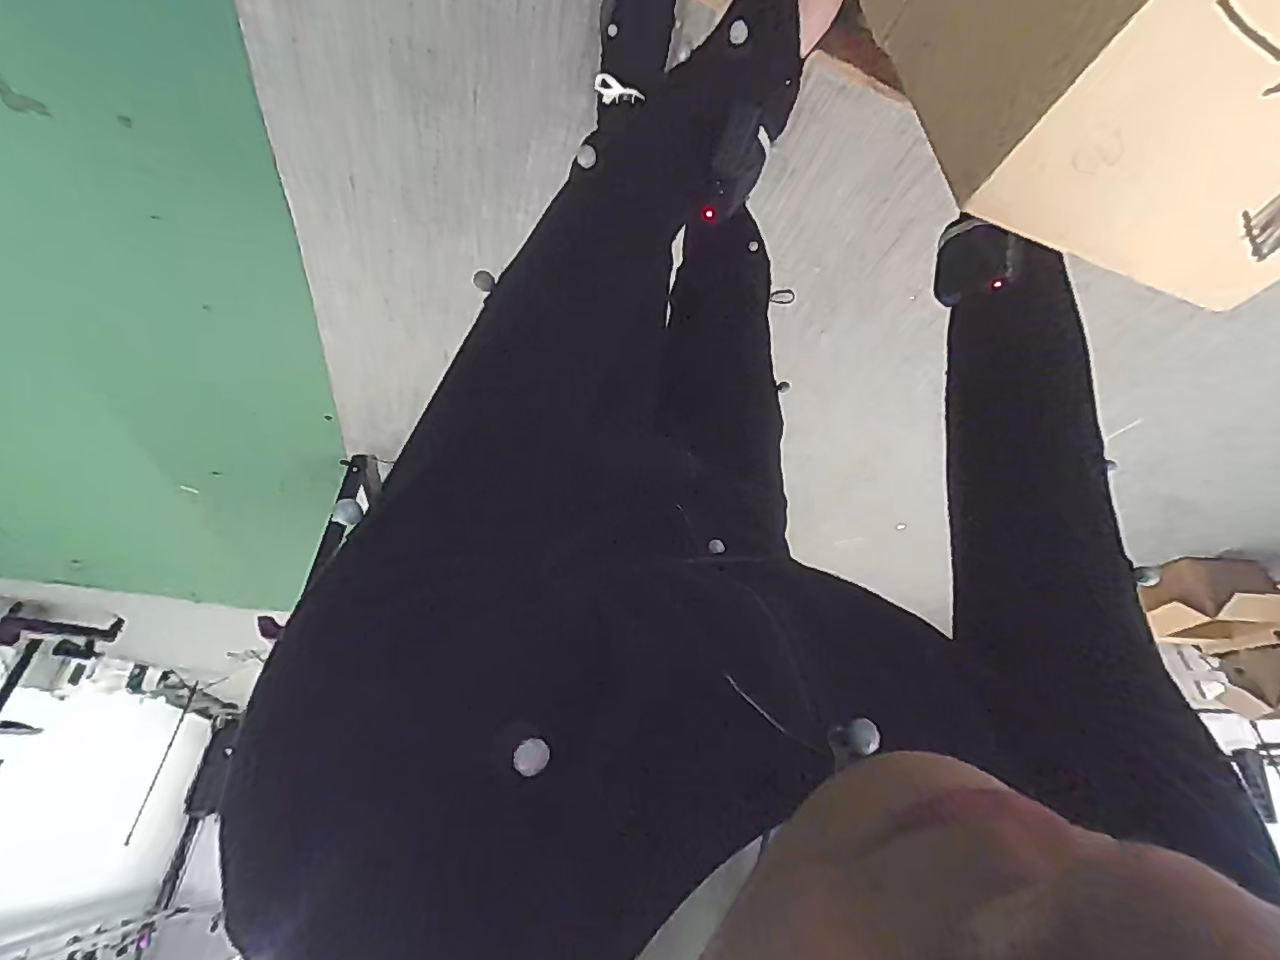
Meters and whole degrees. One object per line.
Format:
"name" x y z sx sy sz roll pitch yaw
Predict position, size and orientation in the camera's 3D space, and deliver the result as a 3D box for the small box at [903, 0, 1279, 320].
"small box" 0.253 -0.207 0.236 0.179 0.176 0.168 12 148 -15
